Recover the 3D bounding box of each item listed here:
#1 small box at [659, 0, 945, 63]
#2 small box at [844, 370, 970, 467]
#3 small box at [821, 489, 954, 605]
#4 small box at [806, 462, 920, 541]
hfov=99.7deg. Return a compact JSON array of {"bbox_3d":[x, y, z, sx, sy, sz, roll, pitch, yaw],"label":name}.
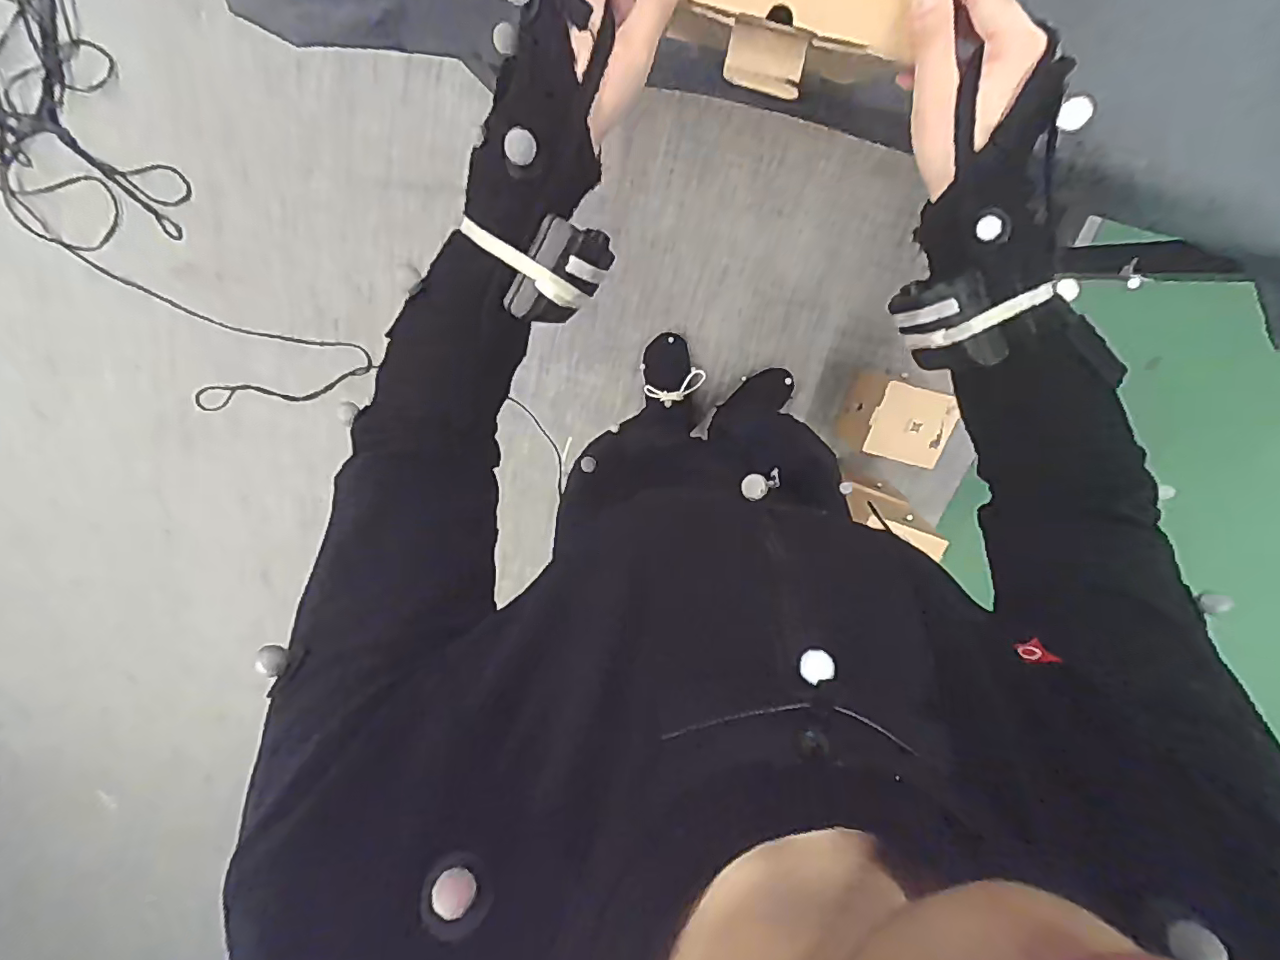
[{"bbox_3d":[0.099,-0.366,0.307,0.168,0.176,0.179,12,125,-3],"label":"small box"},{"bbox_3d":[0.596,-0.148,1.236,0.179,0.176,0.168,14,109,-3],"label":"small box"},{"bbox_3d":[0.524,0.137,1.171,0.179,0.176,0.168,19,109,-4],"label":"small box"},{"bbox_3d":[0.534,0.073,1.323,0.179,0.176,0.168,20,109,-4],"label":"small box"}]
